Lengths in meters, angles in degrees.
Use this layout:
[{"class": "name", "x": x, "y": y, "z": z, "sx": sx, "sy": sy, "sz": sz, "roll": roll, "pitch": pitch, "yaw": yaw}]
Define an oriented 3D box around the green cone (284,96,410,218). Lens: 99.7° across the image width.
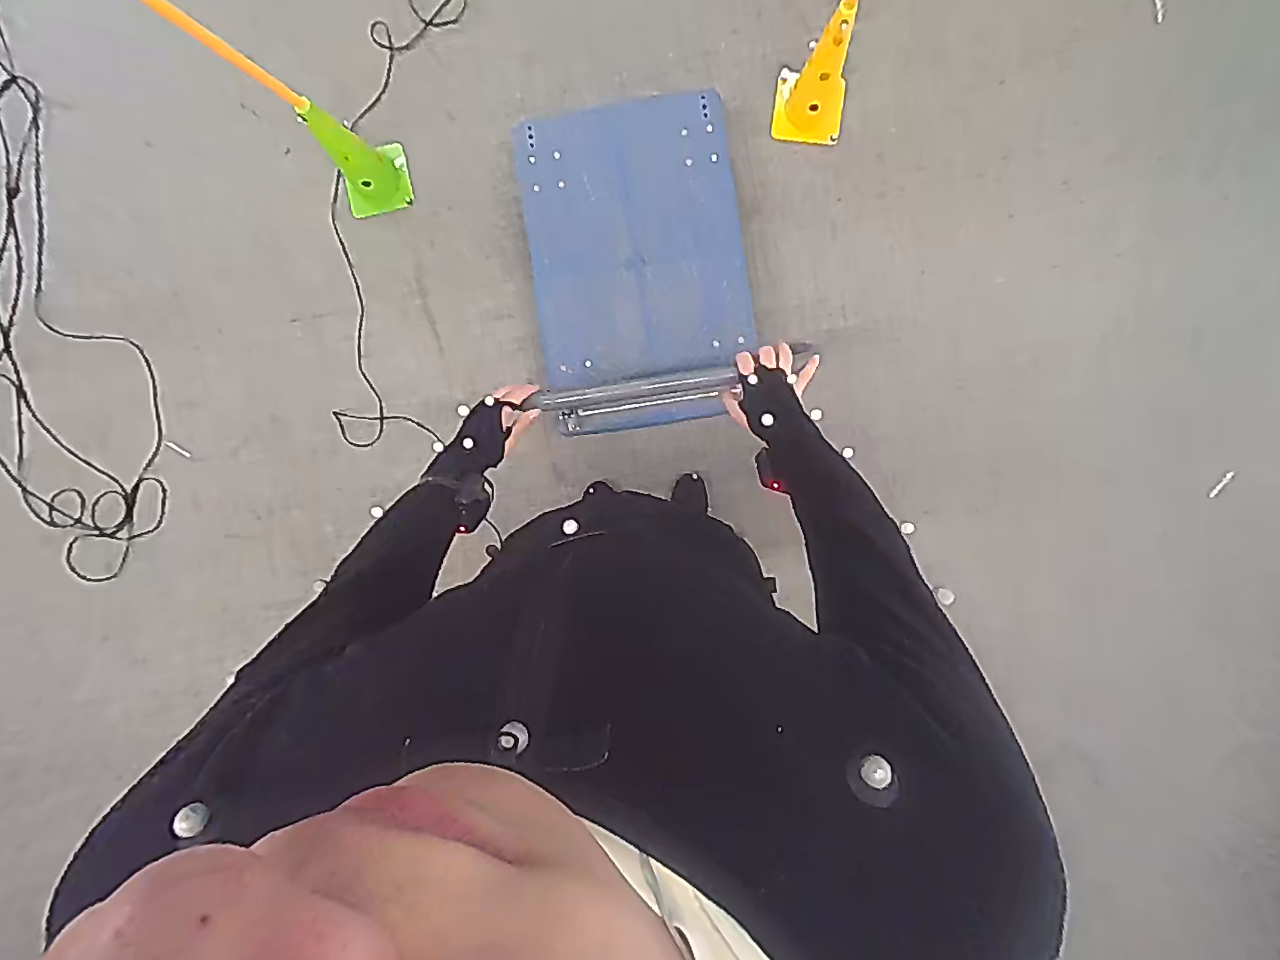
[{"class": "green cone", "x": -0.831, "y": -0.924, "z": 1.493, "sx": 0.202, "sy": 0.368, "sz": 0.200, "roll": -13, "pitch": 90, "yaw": 4}]
